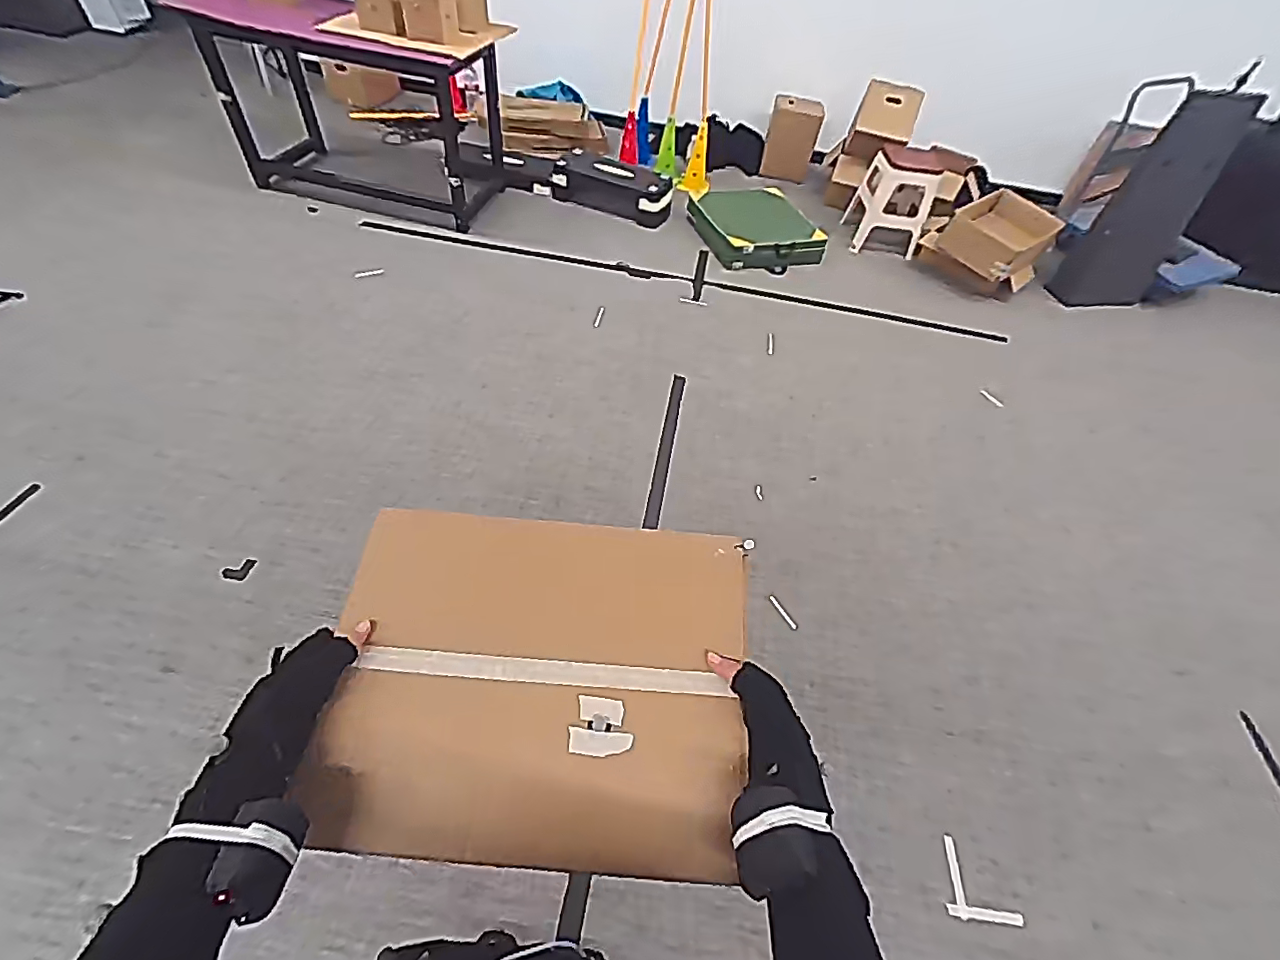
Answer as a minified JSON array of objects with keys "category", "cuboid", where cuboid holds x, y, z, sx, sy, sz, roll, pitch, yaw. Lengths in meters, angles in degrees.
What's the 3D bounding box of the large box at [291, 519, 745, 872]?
[{"category":"large box","cuboid":[-0.105,0.262,0.669,0.408,0.320,0.320,5,63,0]}]
